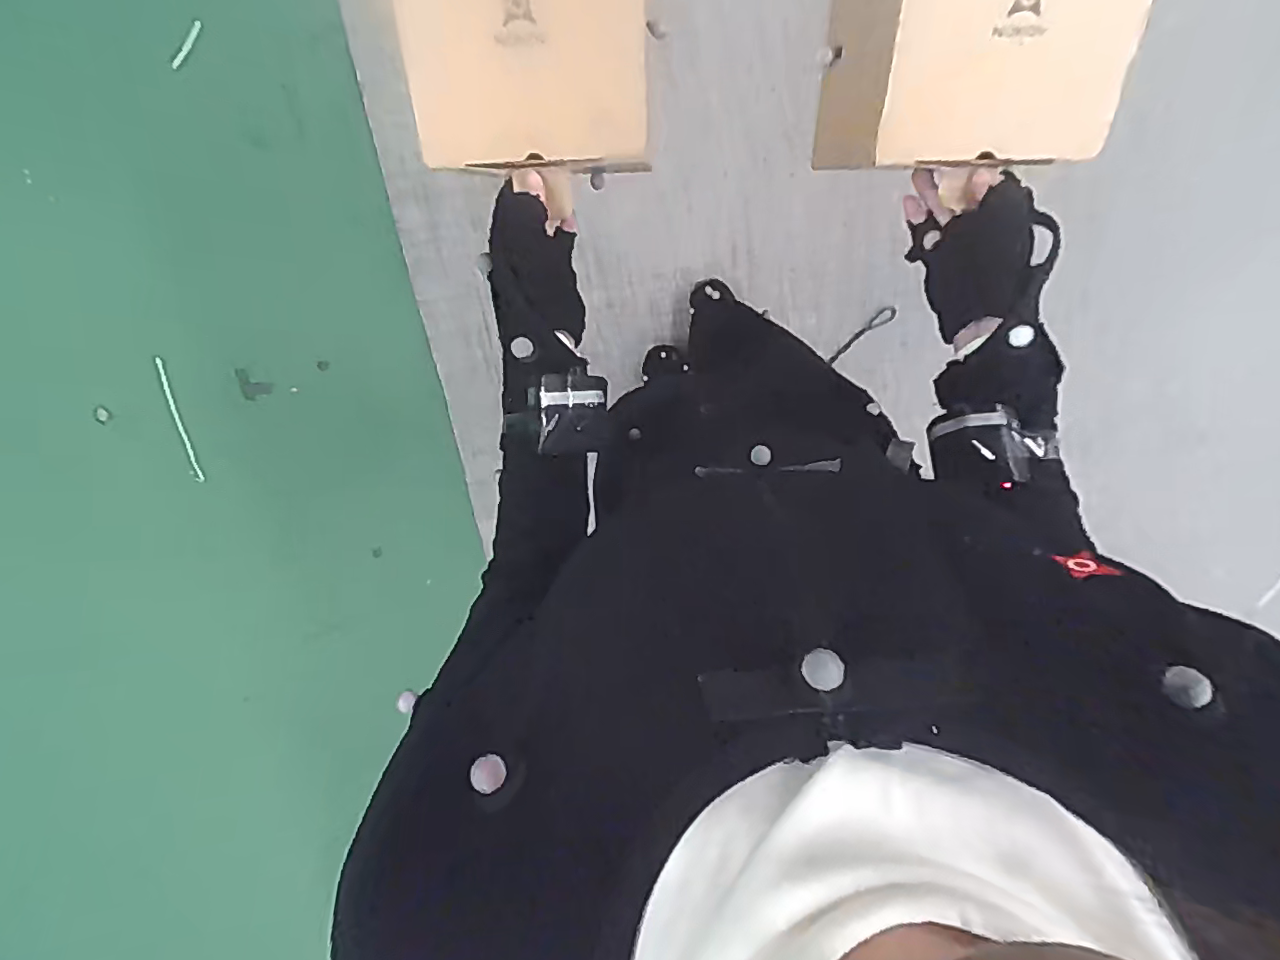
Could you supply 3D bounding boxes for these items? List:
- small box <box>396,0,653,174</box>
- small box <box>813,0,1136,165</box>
[{"bbox_3d":[-0.075,-0.347,0.428,0.168,0.176,0.179,-2,116,3],"label":"small box"},{"bbox_3d":[0.249,-0.355,0.434,0.168,0.176,0.179,-1,119,0],"label":"small box"}]
